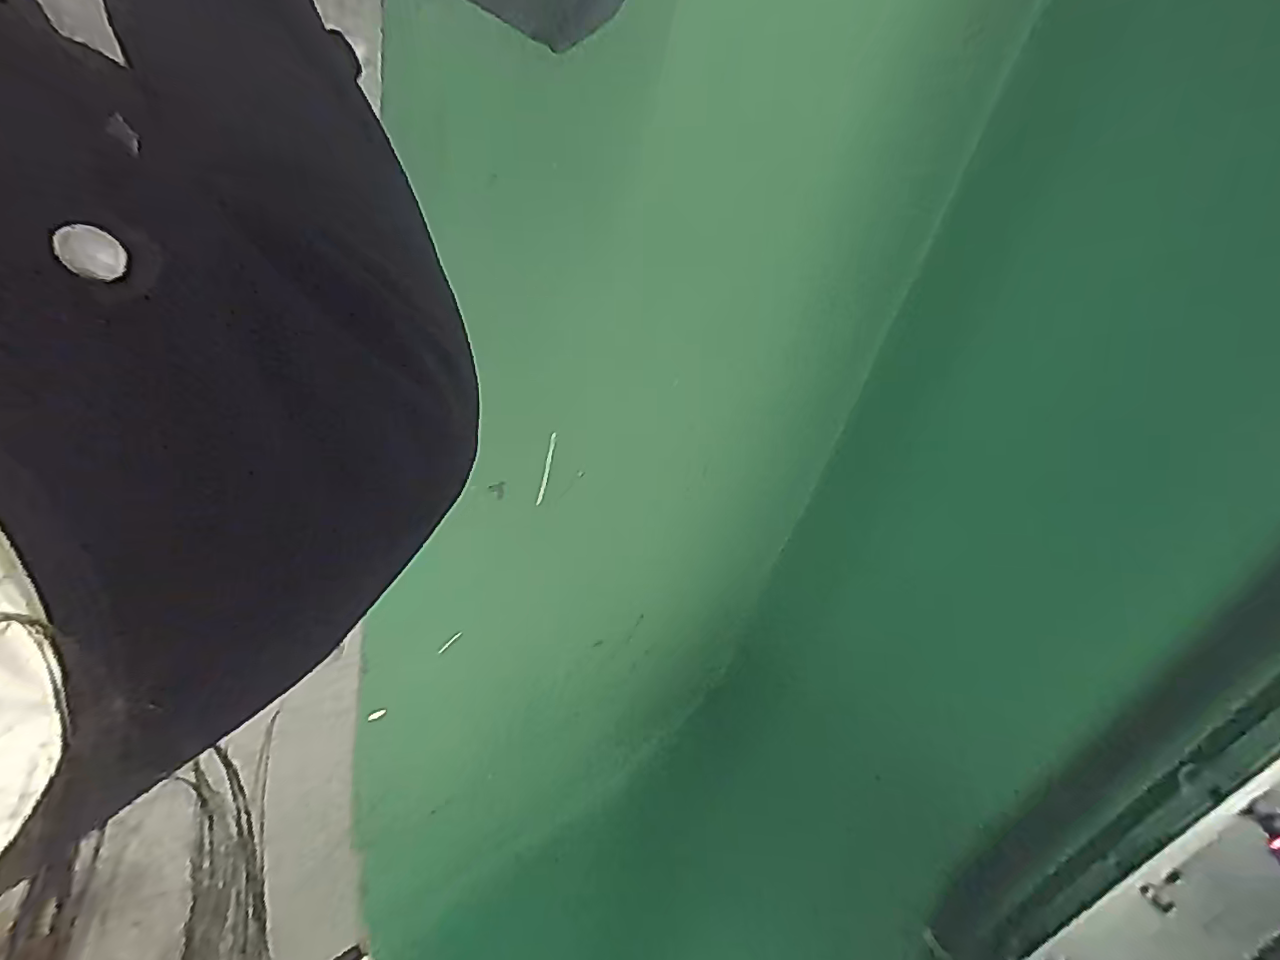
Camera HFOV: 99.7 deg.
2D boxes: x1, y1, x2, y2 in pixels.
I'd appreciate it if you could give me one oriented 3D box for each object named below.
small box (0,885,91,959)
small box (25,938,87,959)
[{"bbox_3d":[-1.709,1.322,1.541,0.179,0.176,0.168,-14,130,-43],"label":"small box"},{"bbox_3d":[-1.596,1.387,1.441,0.168,0.176,0.179,-16,130,-44],"label":"small box"}]
